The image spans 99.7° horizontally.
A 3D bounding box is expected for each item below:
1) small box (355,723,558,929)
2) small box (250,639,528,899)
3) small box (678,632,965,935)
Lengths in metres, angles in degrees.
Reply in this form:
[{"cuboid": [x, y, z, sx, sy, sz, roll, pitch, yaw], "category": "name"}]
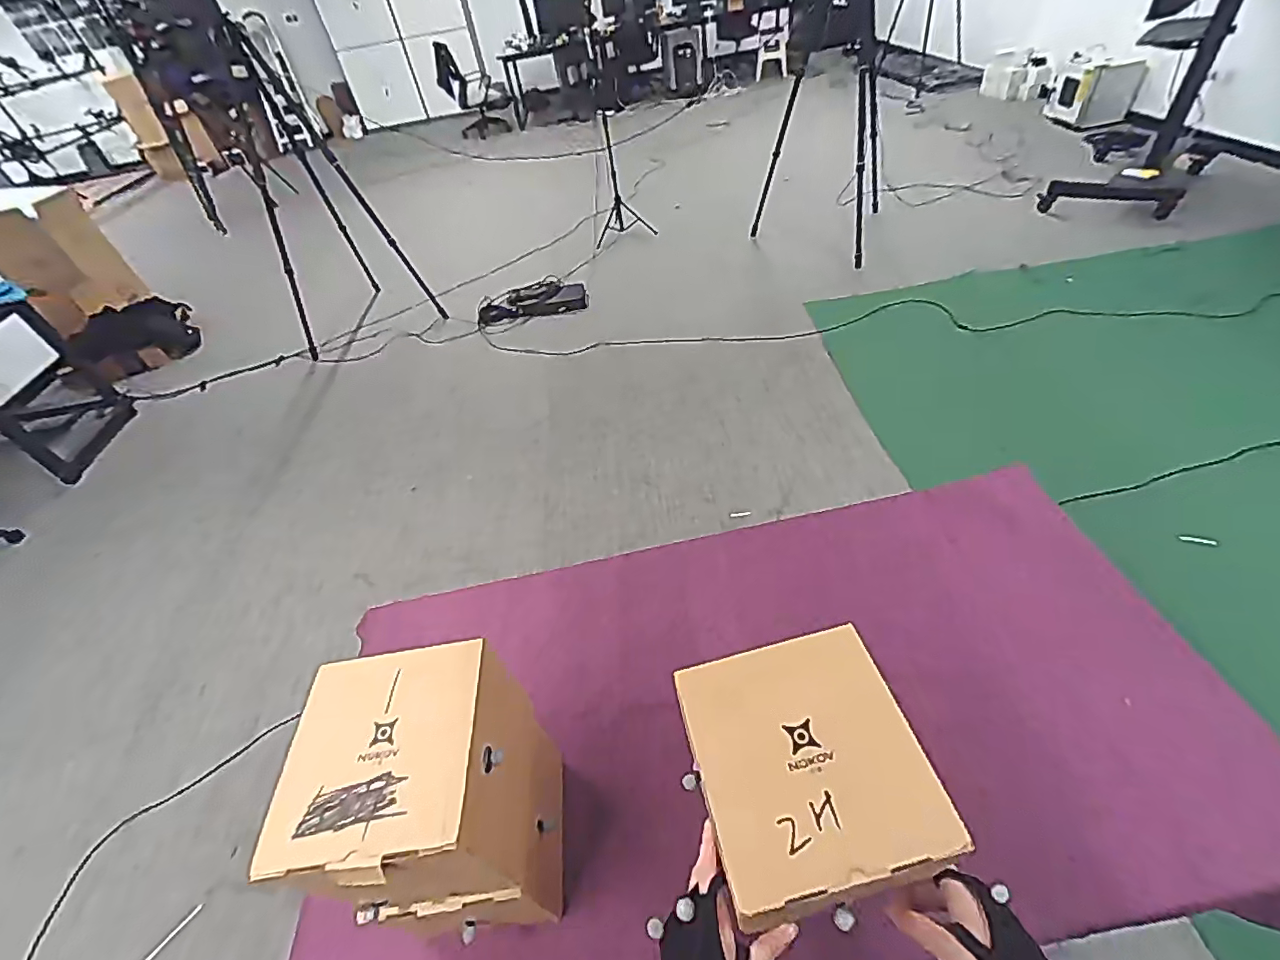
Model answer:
[{"cuboid": [-0.193, 0.402, 0.632, 0.168, 0.176, 0.179, -9, 45, 0], "category": "small box"}, {"cuboid": [-0.213, 0.282, 0.521, 0.168, 0.176, 0.179, -9, 44, 2], "category": "small box"}, {"cuboid": [0.135, 0.265, 0.474, 0.168, 0.176, 0.179, -13, 46, -2], "category": "small box"}]
